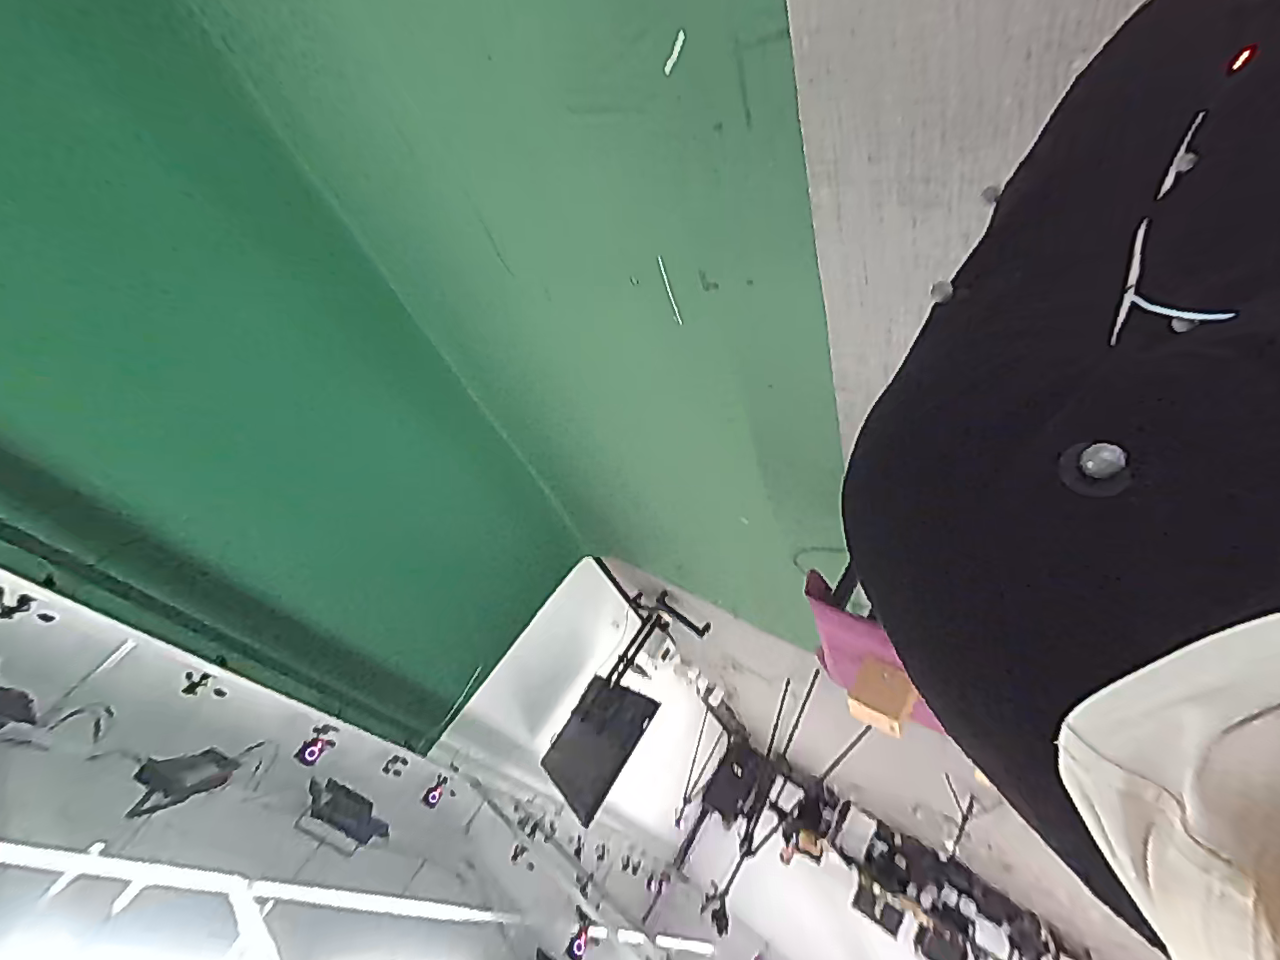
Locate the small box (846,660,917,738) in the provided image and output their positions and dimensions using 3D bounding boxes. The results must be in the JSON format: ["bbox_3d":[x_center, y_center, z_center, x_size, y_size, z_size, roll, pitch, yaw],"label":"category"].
[{"bbox_3d":[0.836,0.750,1.870,0.179,0.176,0.168,18,150,38],"label":"small box"}]

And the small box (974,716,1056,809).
[{"bbox_3d":[1.128,0.846,1.629,0.168,0.176,0.179,18,151,39],"label":"small box"}]
